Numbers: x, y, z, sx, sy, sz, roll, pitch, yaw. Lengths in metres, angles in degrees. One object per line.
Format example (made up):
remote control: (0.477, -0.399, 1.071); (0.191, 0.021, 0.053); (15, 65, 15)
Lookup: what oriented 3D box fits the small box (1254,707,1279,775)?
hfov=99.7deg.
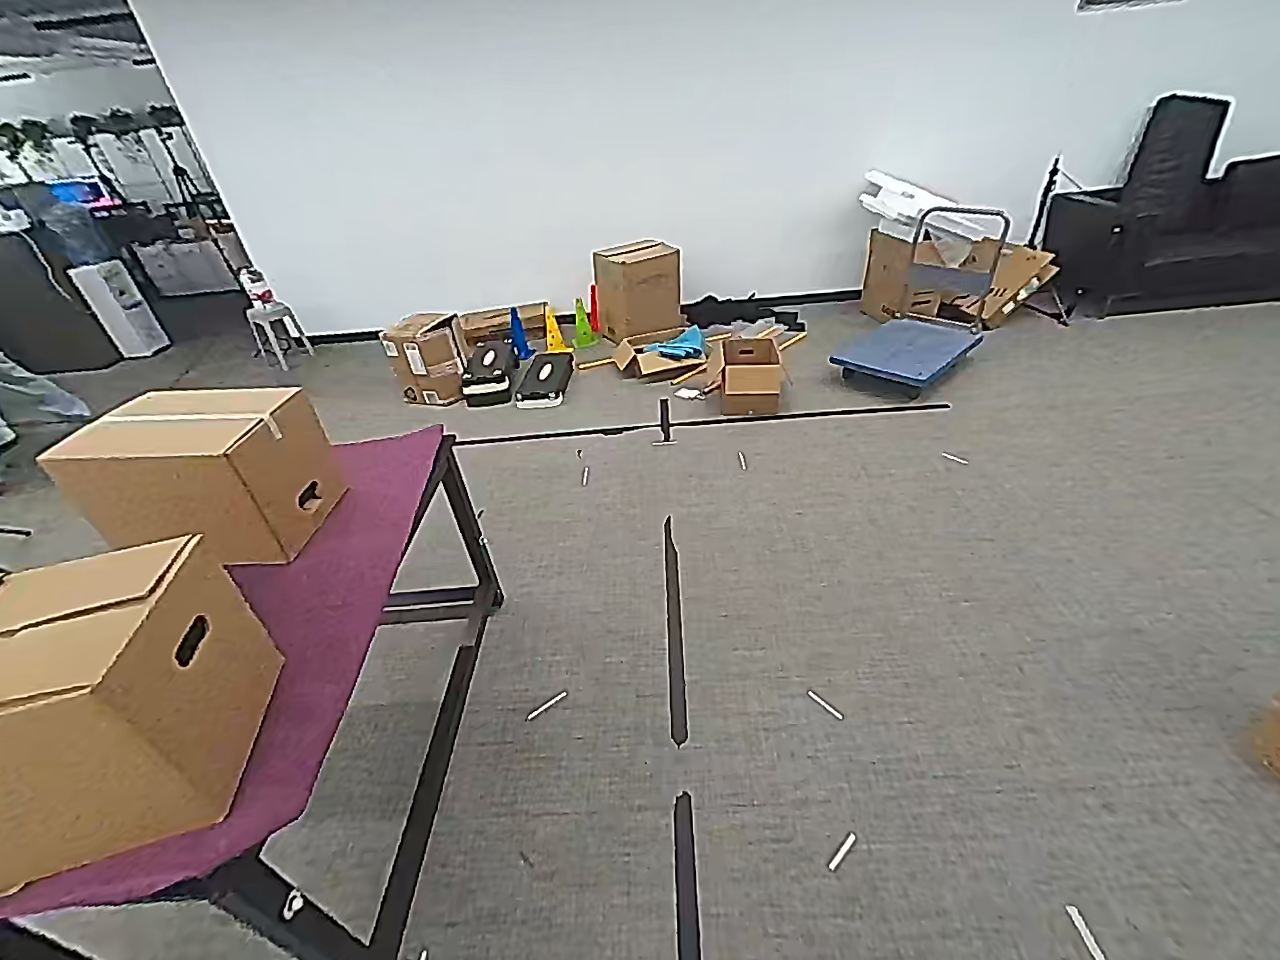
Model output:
small box: (1.707, 0.678, 1.342); (0.179, 0.176, 0.168); (-5, 35, 1)
